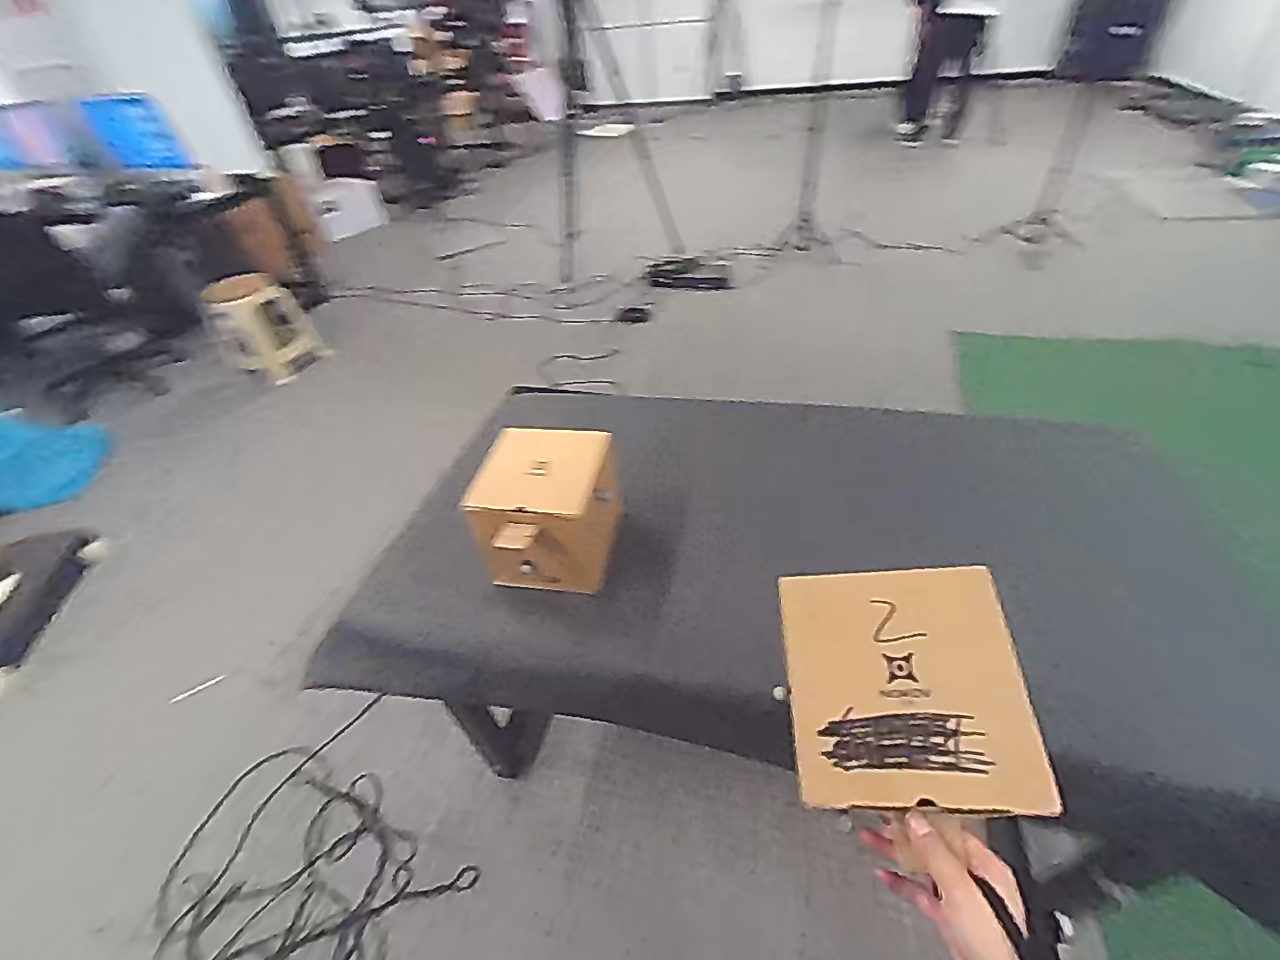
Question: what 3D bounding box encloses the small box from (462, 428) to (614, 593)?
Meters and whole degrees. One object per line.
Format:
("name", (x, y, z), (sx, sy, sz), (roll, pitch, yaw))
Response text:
("small box", (-0.137, 0.043, 0.810), (0.168, 0.176, 0.179), (3, 43, 10))
